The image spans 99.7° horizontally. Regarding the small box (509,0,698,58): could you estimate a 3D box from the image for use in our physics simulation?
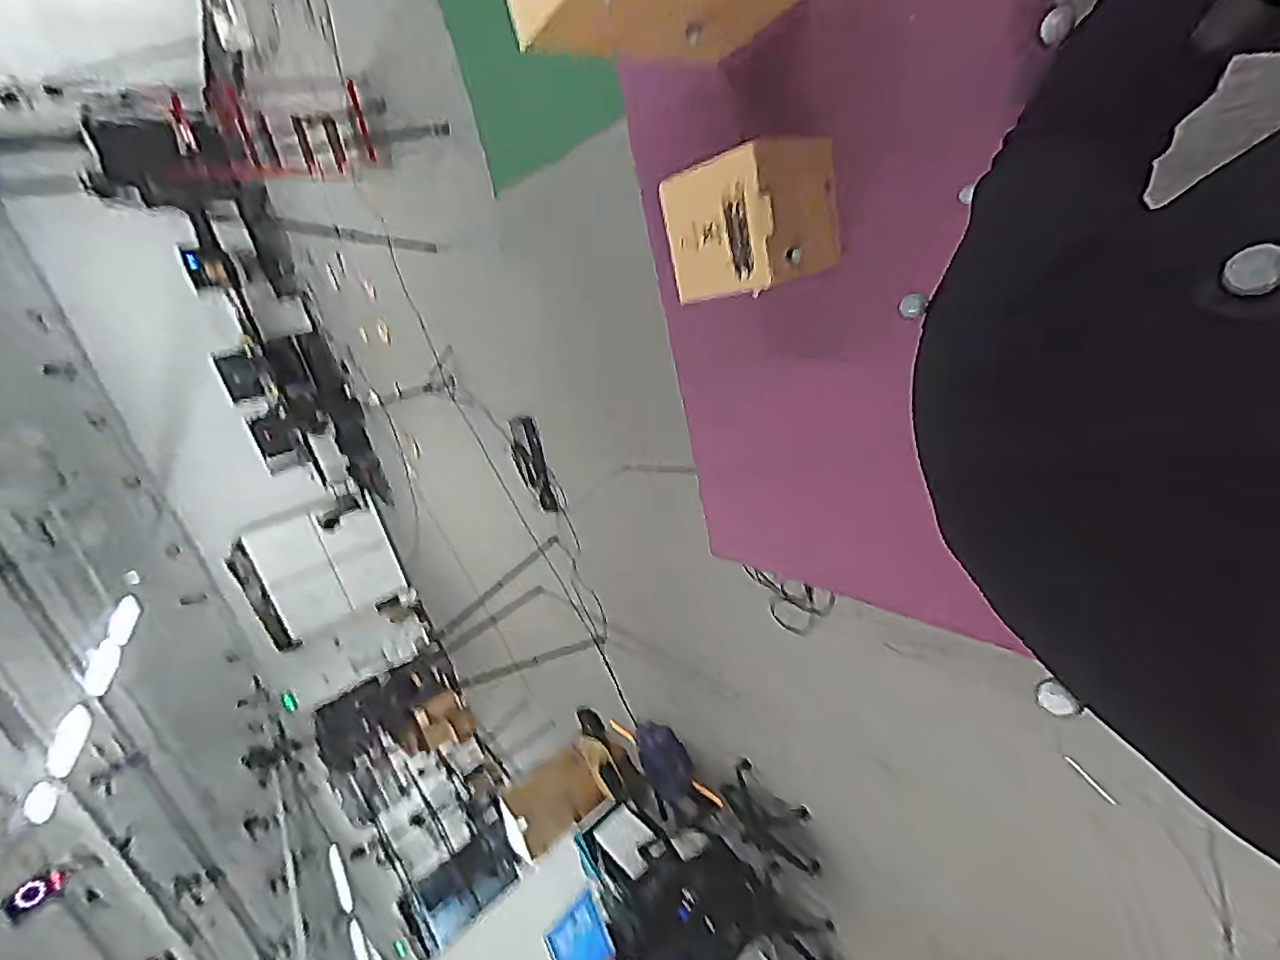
[{"bbox_3d":[-0.044,-0.597,0.591,0.179,0.176,0.168,6,117,51],"label":"small box"}]
